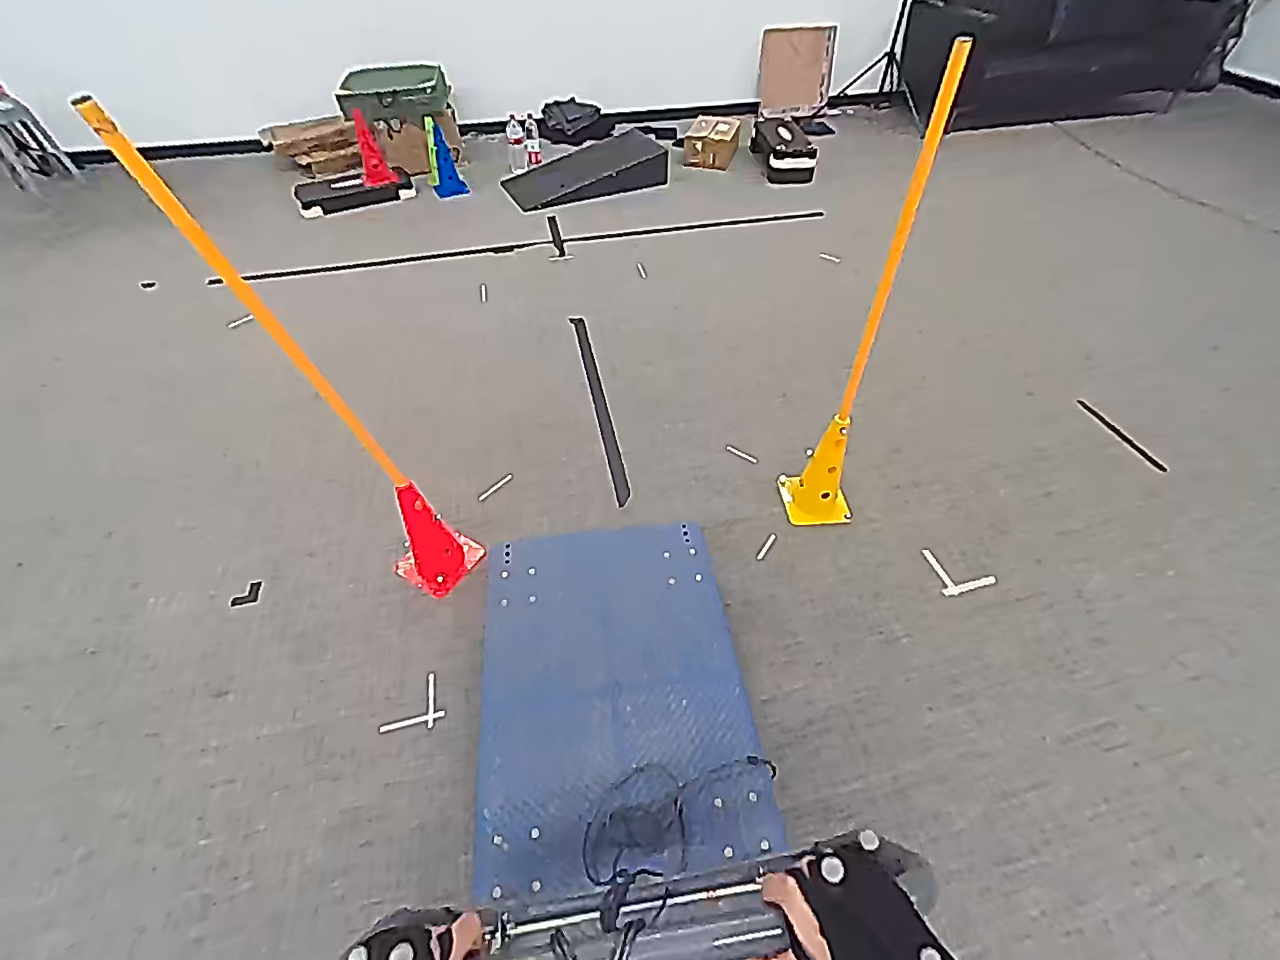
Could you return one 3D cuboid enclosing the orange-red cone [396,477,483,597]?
[{"bbox_3d":[-0.592,0.123,1.483,0.198,0.360,0.199,26,52,20],"label":"orange-red cone"}]
